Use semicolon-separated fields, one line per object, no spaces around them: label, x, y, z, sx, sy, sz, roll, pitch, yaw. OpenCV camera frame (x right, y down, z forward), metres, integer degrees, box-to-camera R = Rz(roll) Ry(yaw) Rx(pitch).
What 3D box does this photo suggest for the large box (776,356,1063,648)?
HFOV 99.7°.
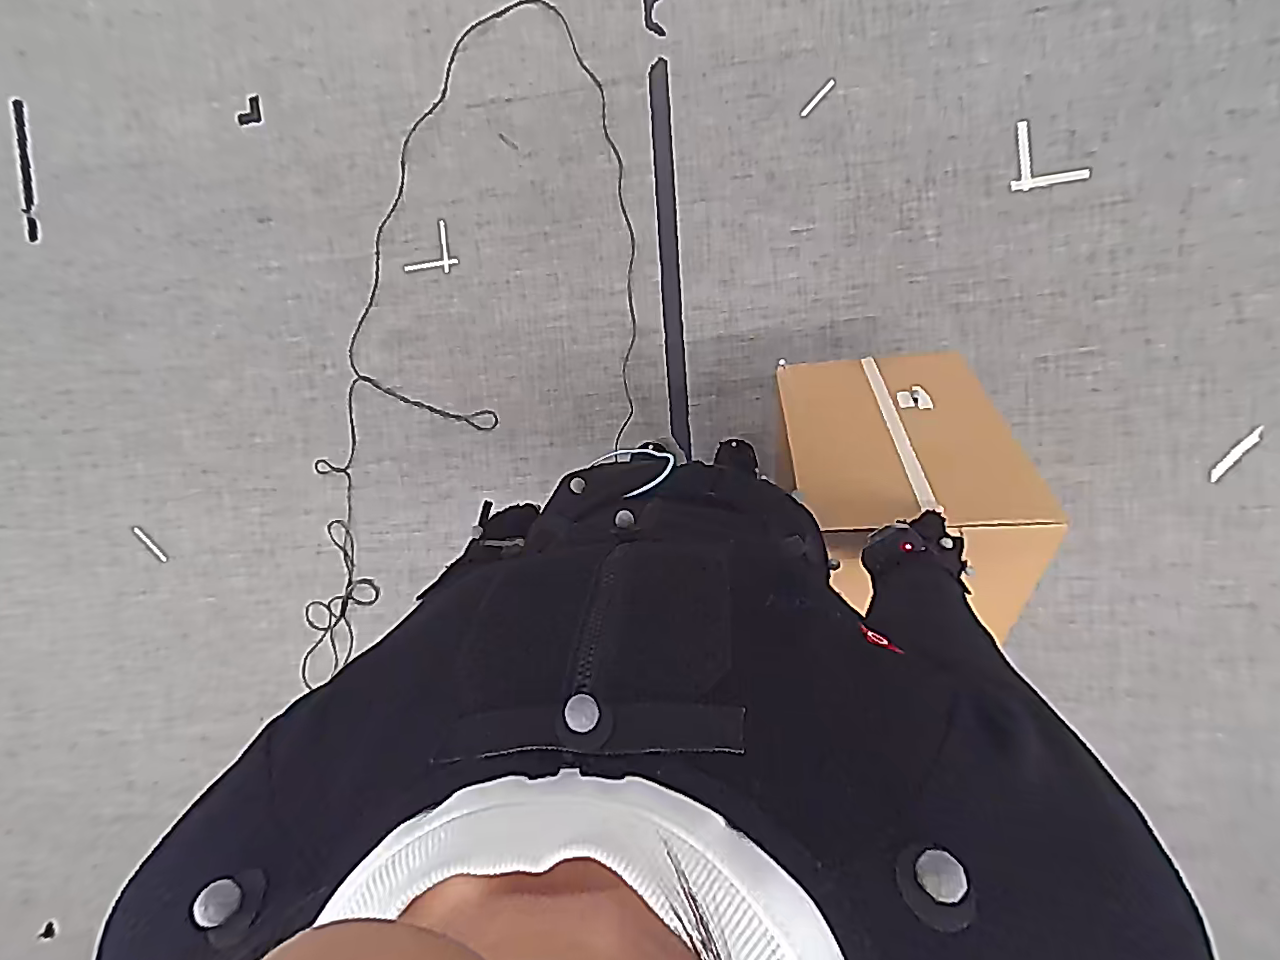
large box;0.415;0.033;0.935;0.320;0.408;0.320;-3;132;8
